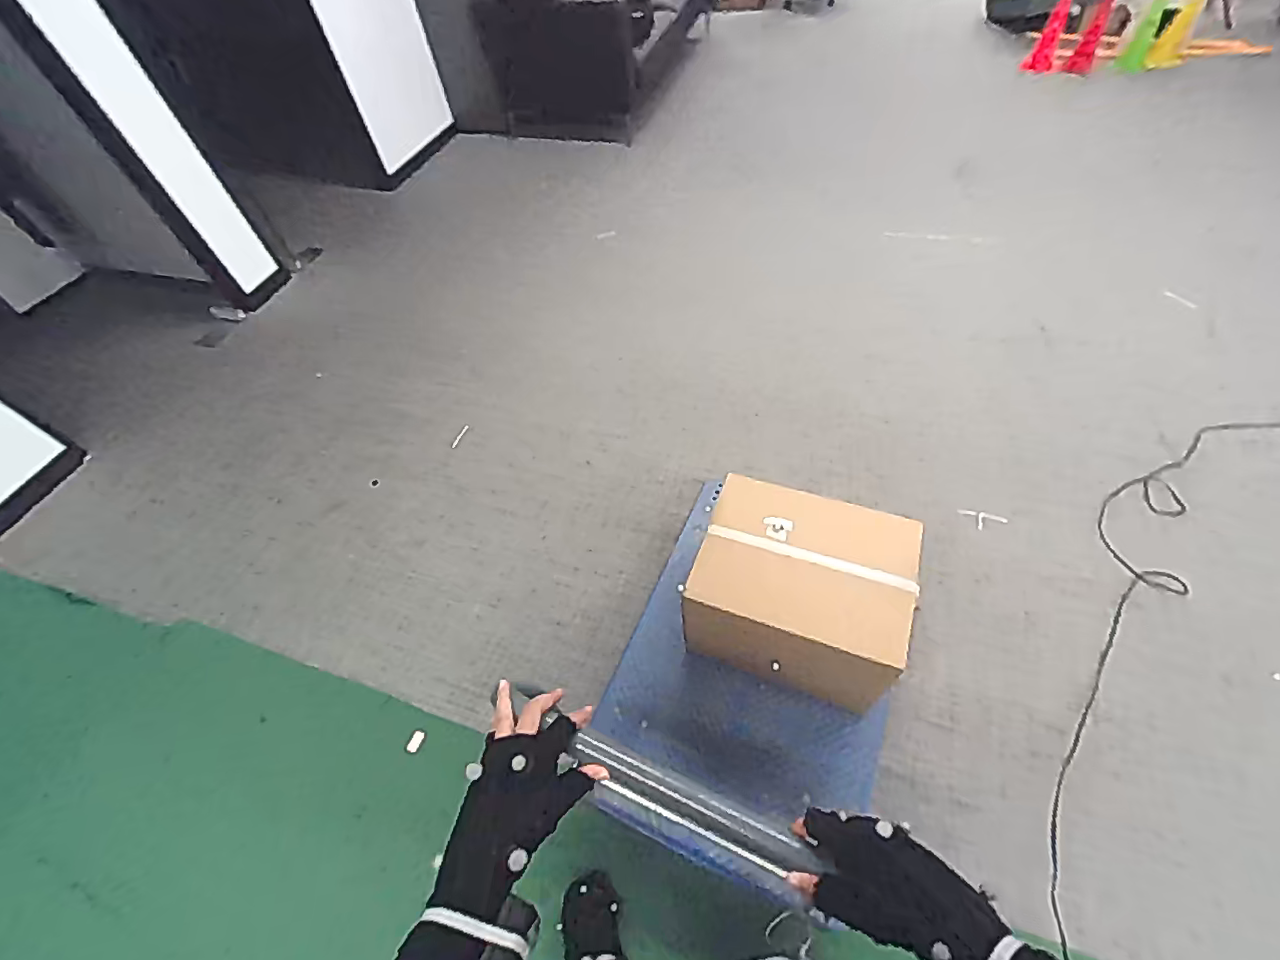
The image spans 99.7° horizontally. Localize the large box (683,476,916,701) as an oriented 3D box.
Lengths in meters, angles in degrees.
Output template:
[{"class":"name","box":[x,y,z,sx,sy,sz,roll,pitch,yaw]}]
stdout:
[{"class":"large box","box":[0.339,0.237,1.181,0.408,0.320,0.320,14,56,18]}]
